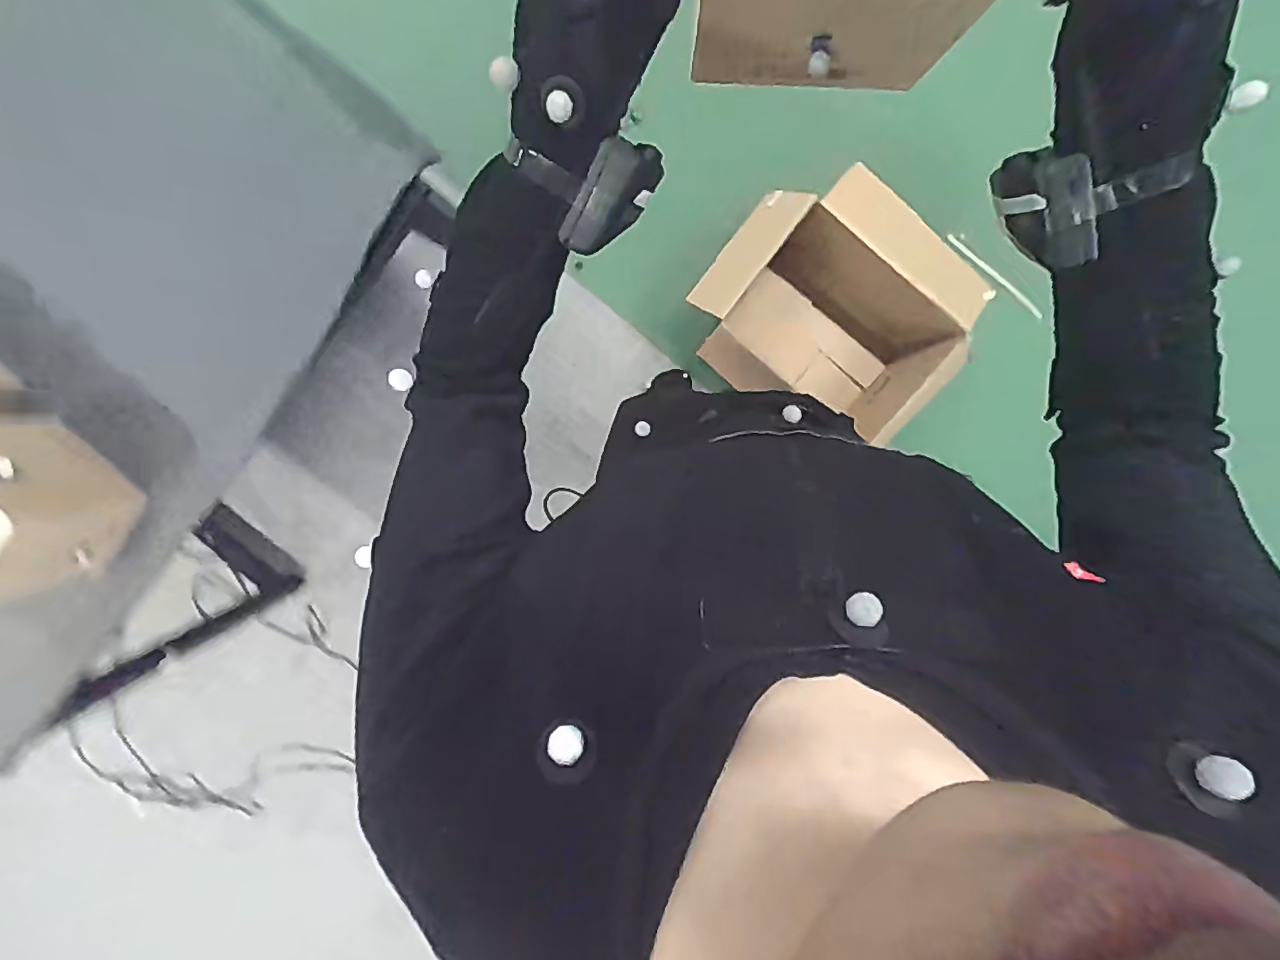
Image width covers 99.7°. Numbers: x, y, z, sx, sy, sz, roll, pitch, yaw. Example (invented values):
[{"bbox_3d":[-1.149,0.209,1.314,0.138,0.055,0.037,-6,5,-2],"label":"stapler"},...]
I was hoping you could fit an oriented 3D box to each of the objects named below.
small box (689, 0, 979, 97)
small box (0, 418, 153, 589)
[{"bbox_3d":[0.117,-0.362,0.311,0.168,0.176,0.179,2,101,2],"label":"small box"},{"bbox_3d":[-0.837,0.030,0.730,0.179,0.176,0.168,43,99,-3],"label":"small box"}]
